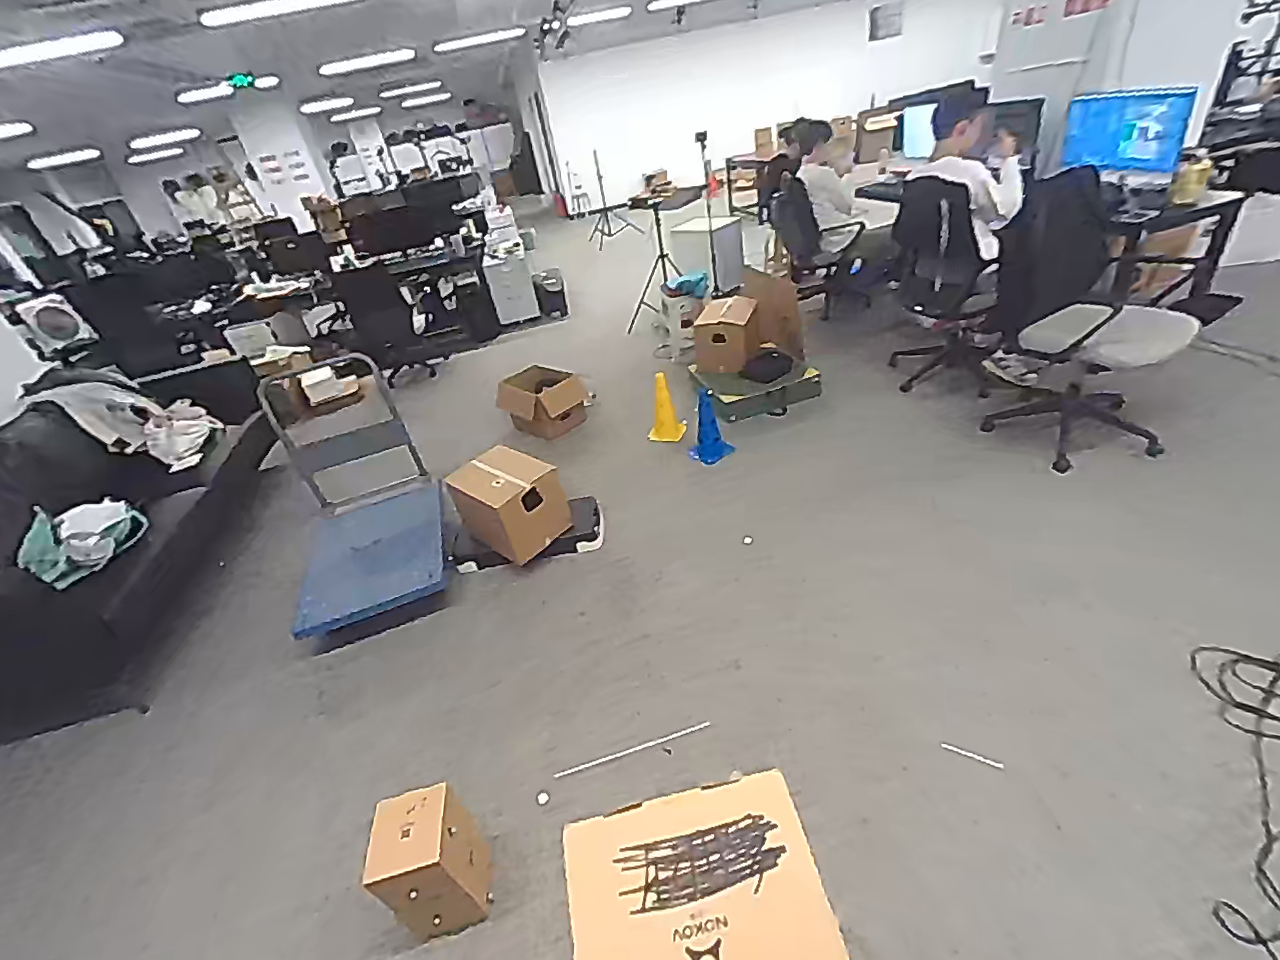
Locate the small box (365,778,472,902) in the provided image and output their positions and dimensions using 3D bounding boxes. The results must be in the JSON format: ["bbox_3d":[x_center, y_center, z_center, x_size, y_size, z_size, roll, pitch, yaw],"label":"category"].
[{"bbox_3d":[-0.498,0.832,1.244,0.168,0.176,0.179,-14,34,-4],"label":"small box"}]

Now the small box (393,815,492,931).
[{"bbox_3d":[-0.475,0.968,1.335,0.179,0.176,0.168,-15,34,-3],"label":"small box"}]
